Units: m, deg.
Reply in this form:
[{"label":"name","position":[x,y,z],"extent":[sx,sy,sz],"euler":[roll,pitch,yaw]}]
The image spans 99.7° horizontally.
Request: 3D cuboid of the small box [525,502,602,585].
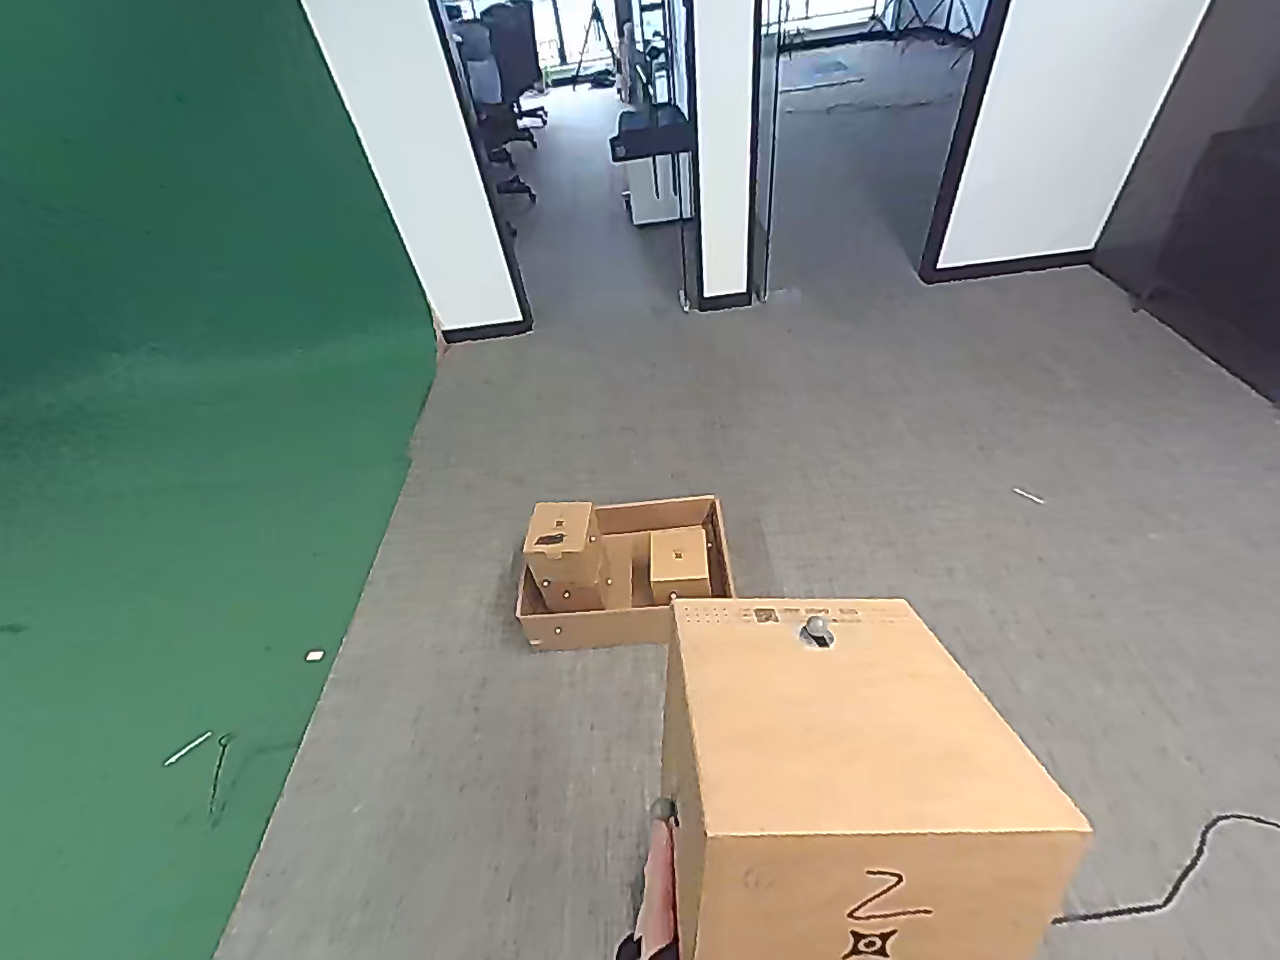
[{"label":"small box","position":[-0.208,0.181,1.527],"extent":[0.168,0.176,0.179],"euler":[-1,45,7]}]
